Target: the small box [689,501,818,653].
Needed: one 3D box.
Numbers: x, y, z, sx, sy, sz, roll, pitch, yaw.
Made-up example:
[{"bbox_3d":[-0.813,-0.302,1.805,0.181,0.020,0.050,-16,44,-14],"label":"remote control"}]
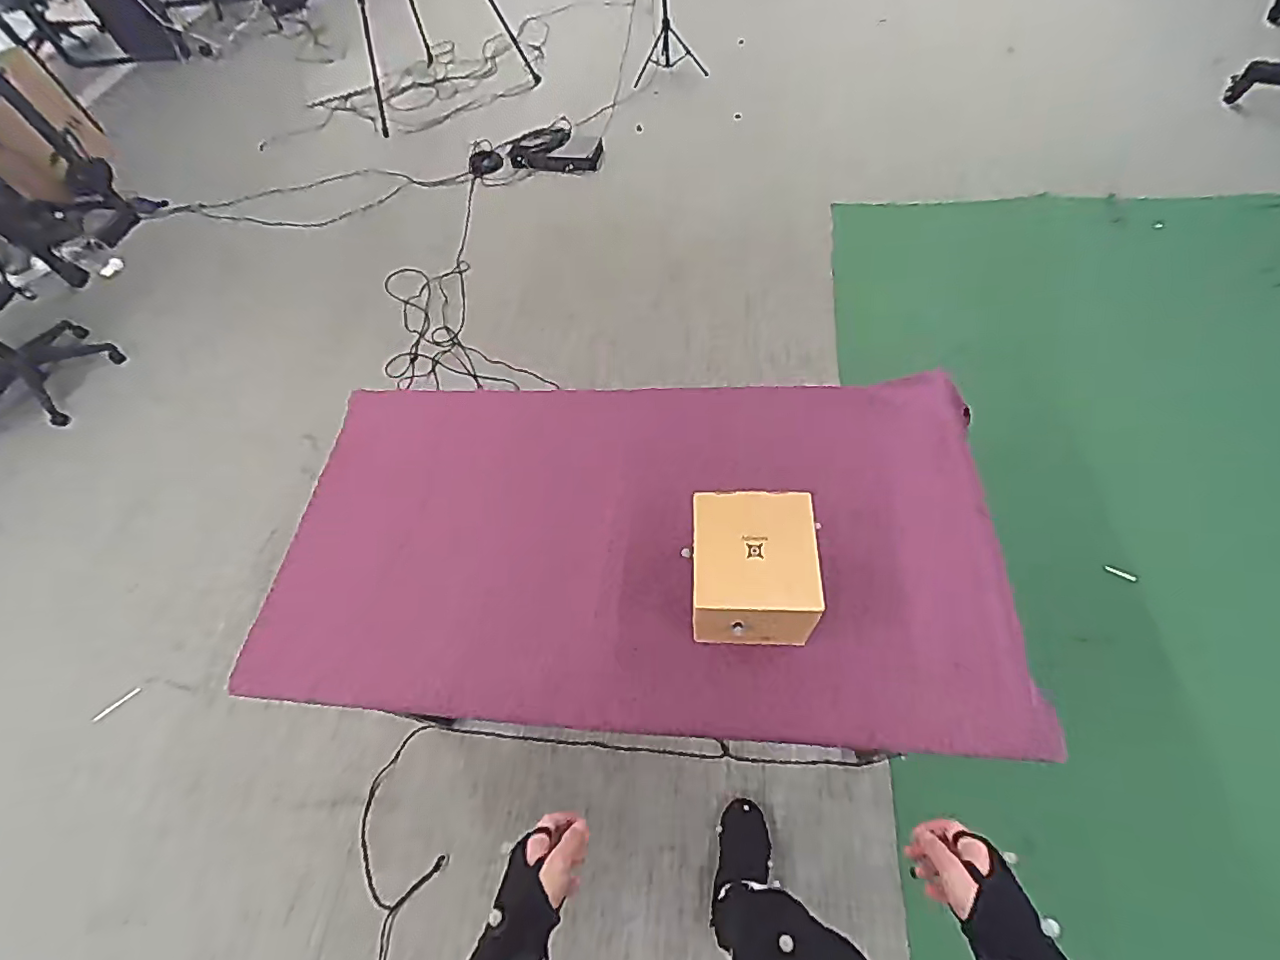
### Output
[{"bbox_3d":[0.160,0.148,0.794,0.168,0.176,0.179,-1,57,8],"label":"small box"}]
